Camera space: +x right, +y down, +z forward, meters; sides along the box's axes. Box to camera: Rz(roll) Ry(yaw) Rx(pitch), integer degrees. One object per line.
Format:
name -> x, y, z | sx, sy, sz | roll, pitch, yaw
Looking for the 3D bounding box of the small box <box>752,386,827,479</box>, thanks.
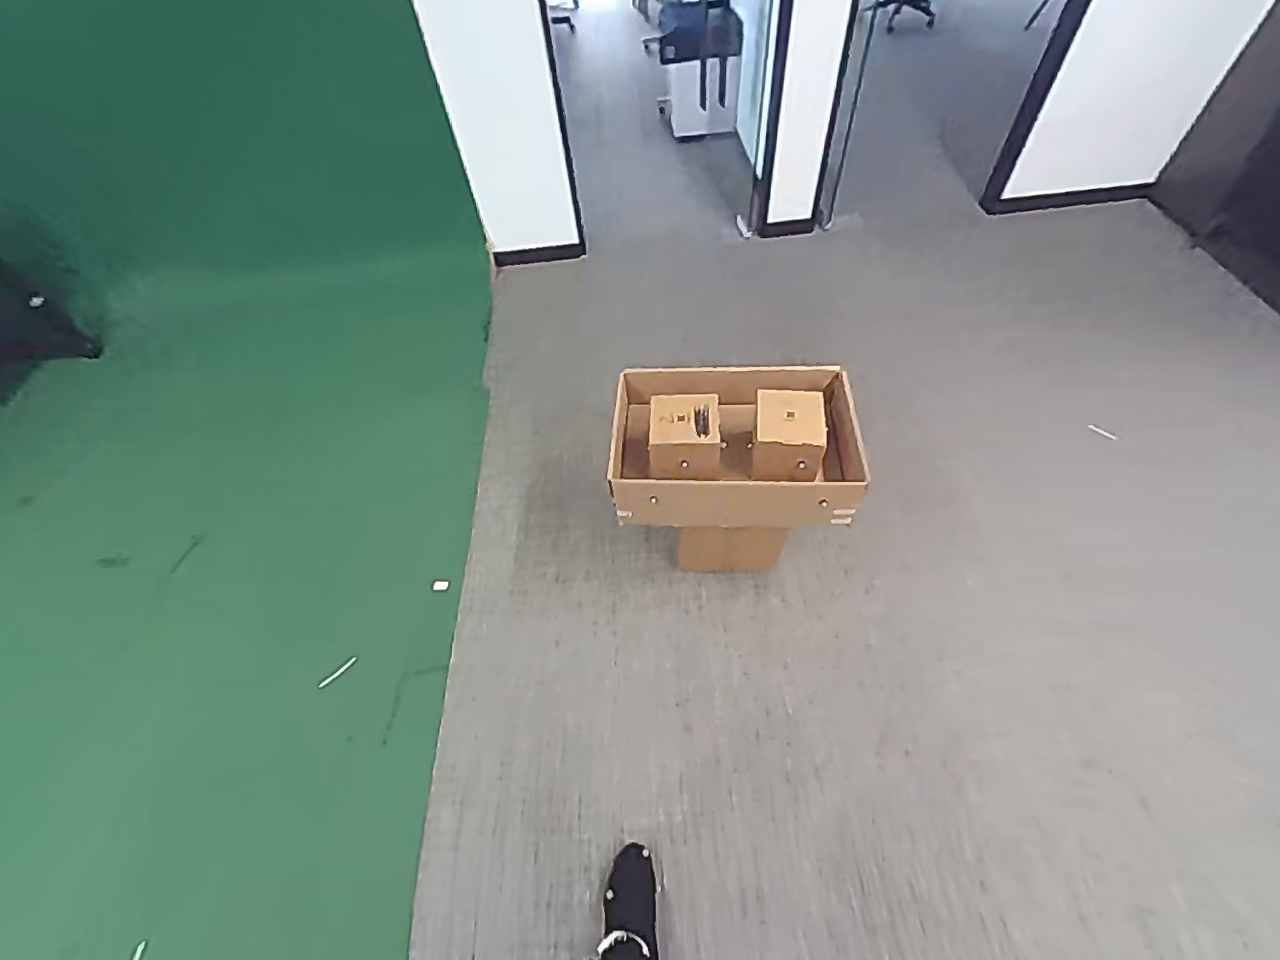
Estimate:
small box -> 0.383, -0.120, 1.399 | 0.168, 0.176, 0.179 | 4, 56, 8
